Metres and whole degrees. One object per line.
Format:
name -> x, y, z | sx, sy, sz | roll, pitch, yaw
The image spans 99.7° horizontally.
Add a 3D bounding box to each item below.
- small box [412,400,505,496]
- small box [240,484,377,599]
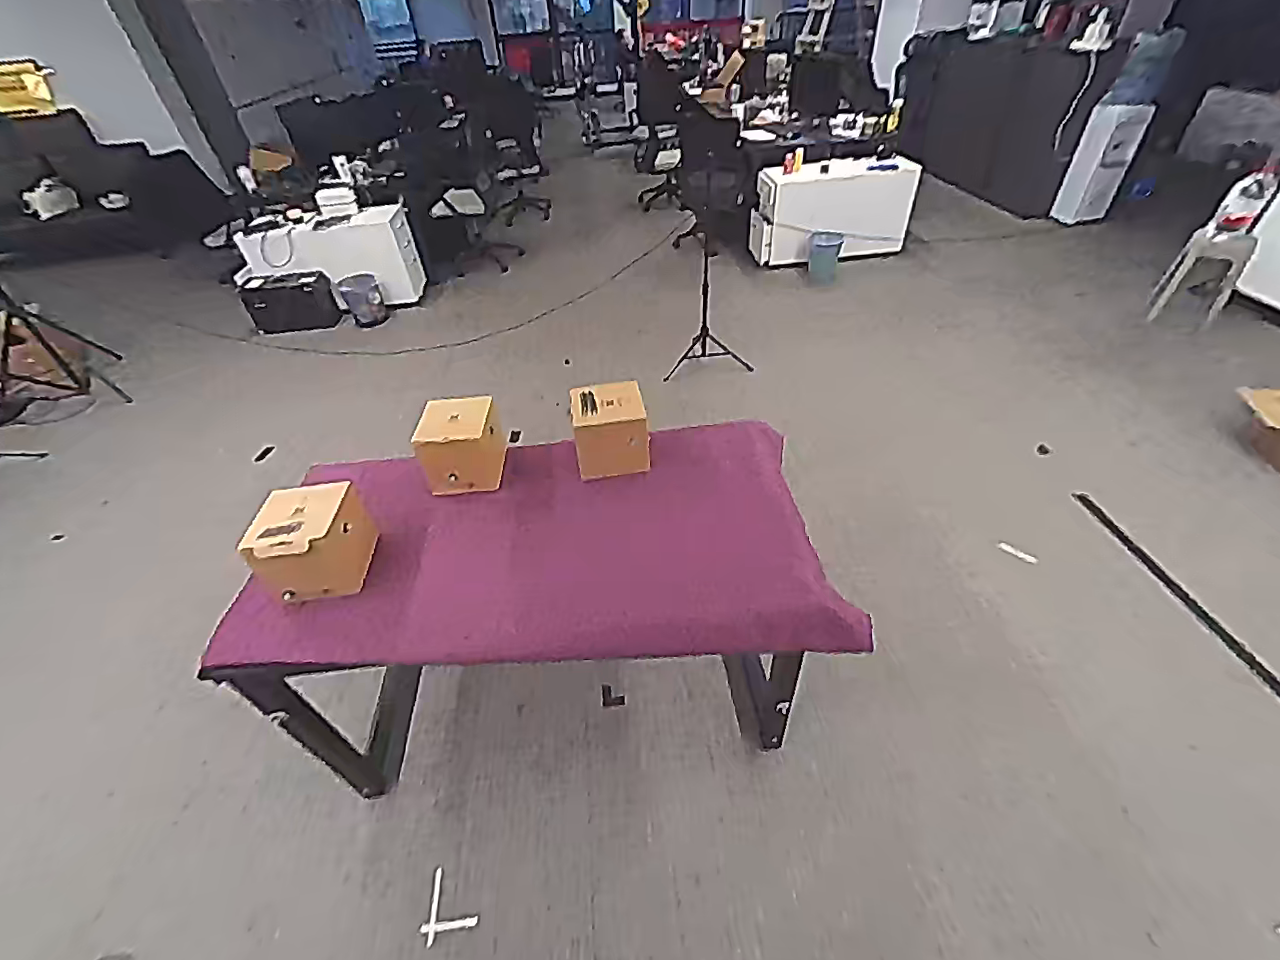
small box -> -0.443, -0.081, 1.356 | 0.168, 0.176, 0.179 | -4, 42, 0
small box -> -0.682, 0.135, 1.139 | 0.168, 0.176, 0.179 | -7, 40, -3
